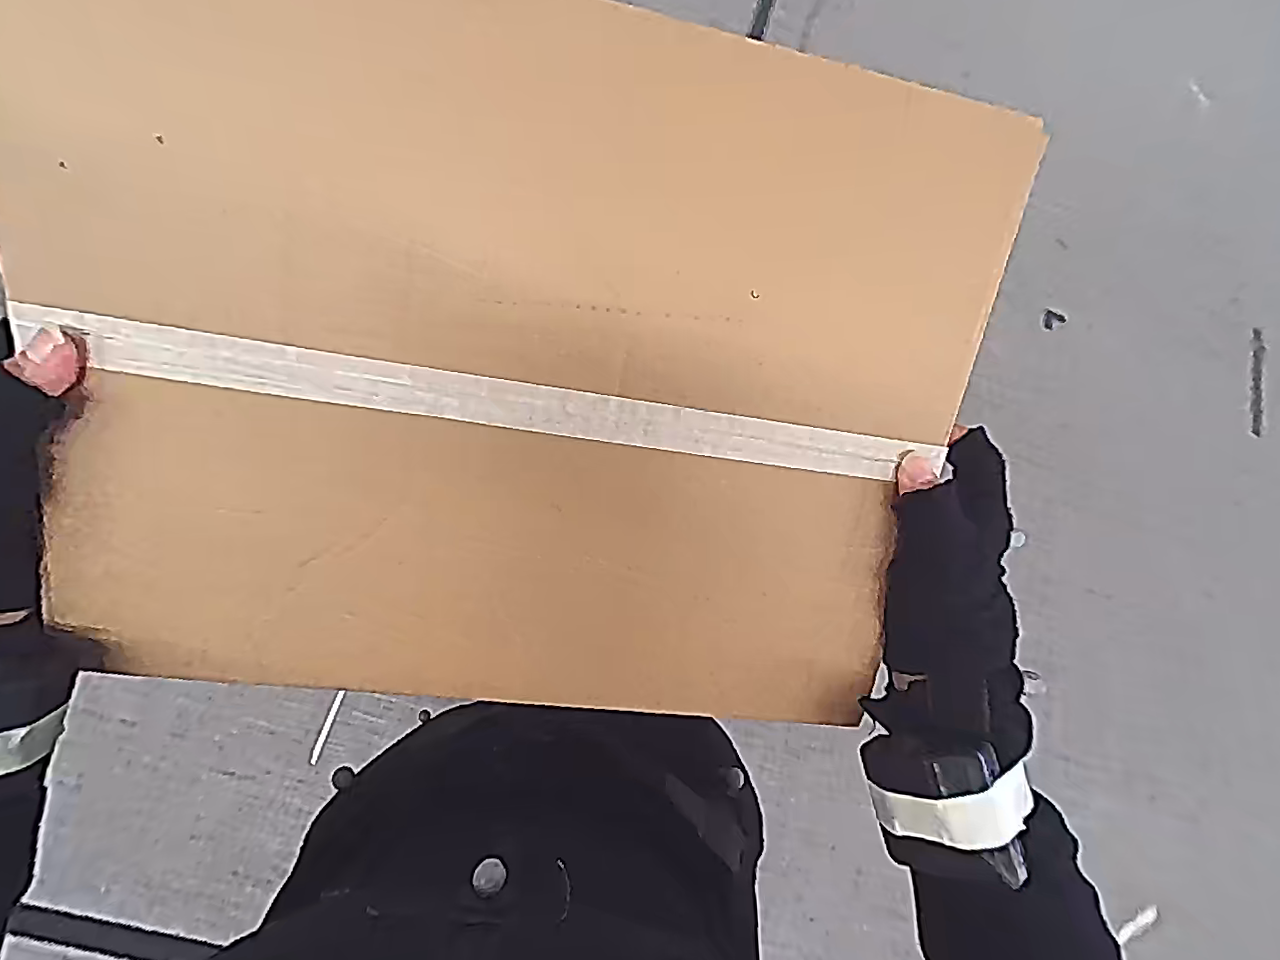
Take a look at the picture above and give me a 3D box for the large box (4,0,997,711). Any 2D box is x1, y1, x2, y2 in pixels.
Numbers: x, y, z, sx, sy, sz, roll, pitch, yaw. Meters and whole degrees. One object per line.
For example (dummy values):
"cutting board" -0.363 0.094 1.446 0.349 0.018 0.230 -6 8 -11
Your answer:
"large box" -0.067 -0.068 0.398 0.408 0.320 0.320 7 104 -9
